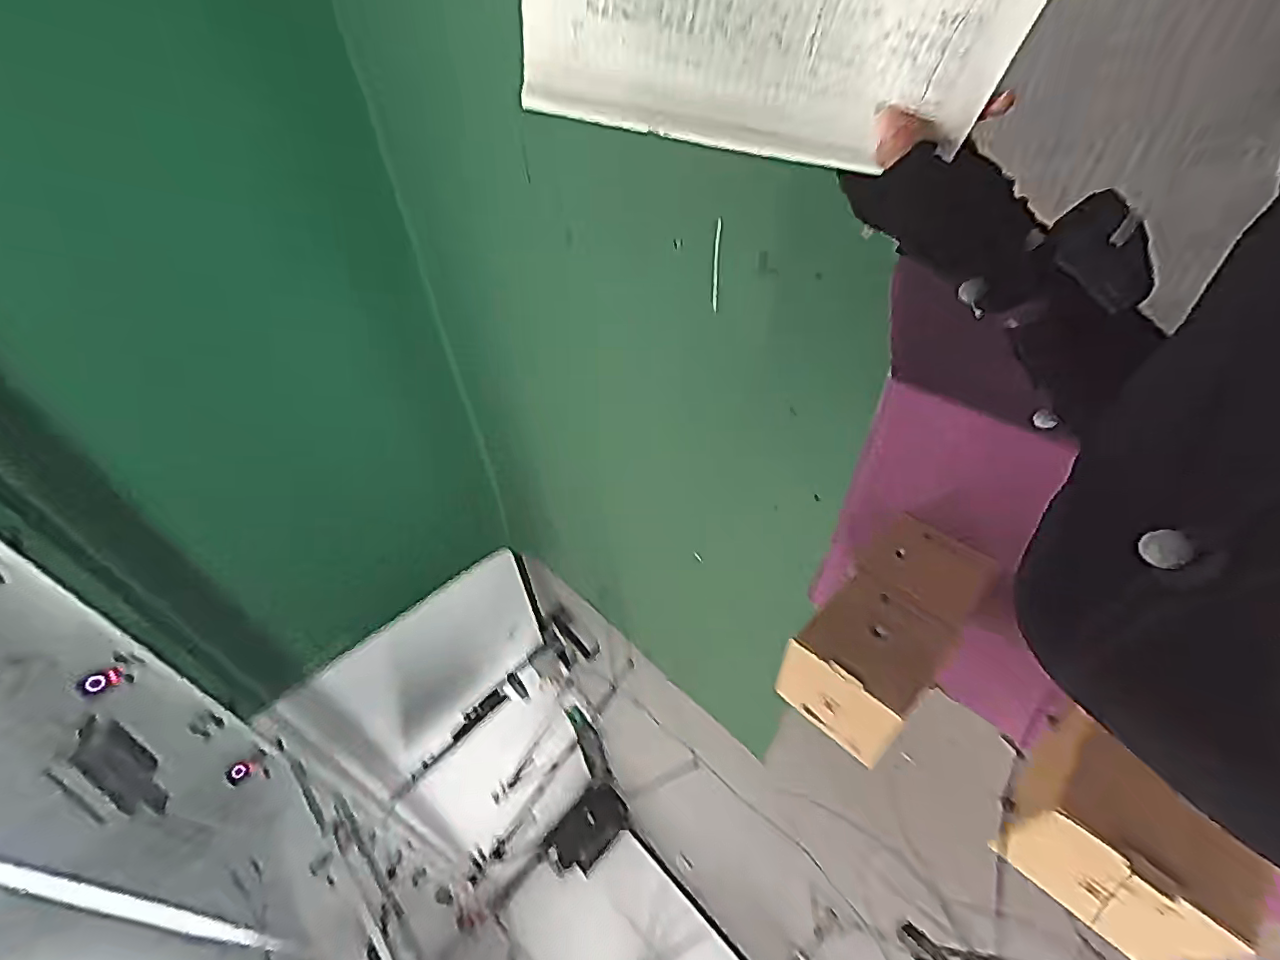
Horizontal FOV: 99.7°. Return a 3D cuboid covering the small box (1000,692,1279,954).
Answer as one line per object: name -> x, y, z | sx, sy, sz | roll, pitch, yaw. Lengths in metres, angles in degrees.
small box -> 0.563, 0.385, 0.620 | 0.168, 0.176, 0.179 | 33, 145, 31

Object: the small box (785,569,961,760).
small box -> 0.345, 0.267, 0.808 | 0.168, 0.176, 0.179 | 34, 145, 32
